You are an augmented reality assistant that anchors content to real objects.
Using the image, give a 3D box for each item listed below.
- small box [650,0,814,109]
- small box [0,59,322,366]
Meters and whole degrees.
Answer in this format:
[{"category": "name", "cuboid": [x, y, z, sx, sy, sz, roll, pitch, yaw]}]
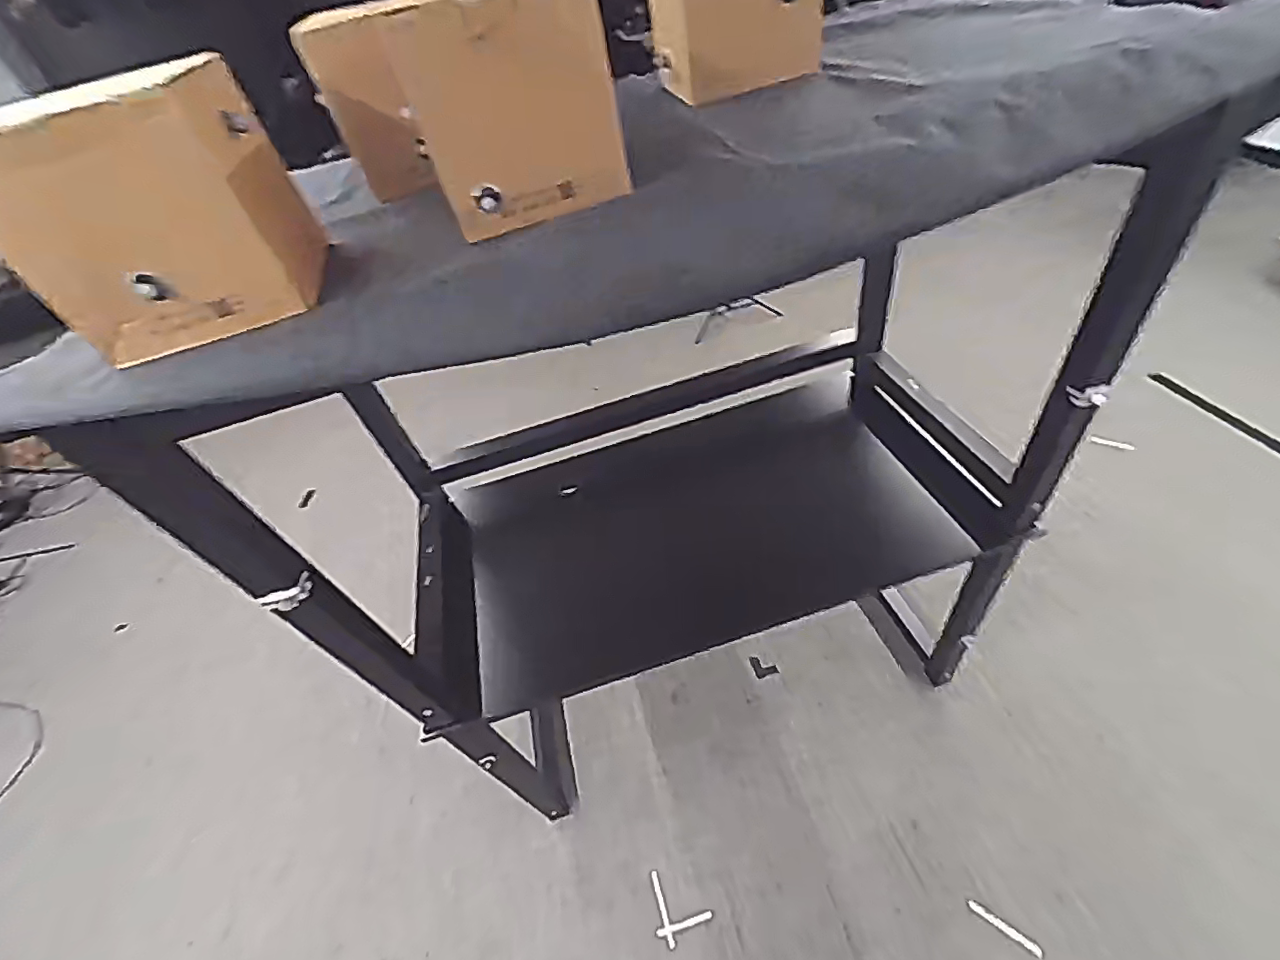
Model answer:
[{"category": "small box", "cuboid": [0.113, -0.609, 0.697, 0.179, 0.176, 0.168, -16, 45, -2]}, {"category": "small box", "cuboid": [-0.399, -0.225, 0.457, 0.168, 0.176, 0.179, -21, 46, -6]}]
